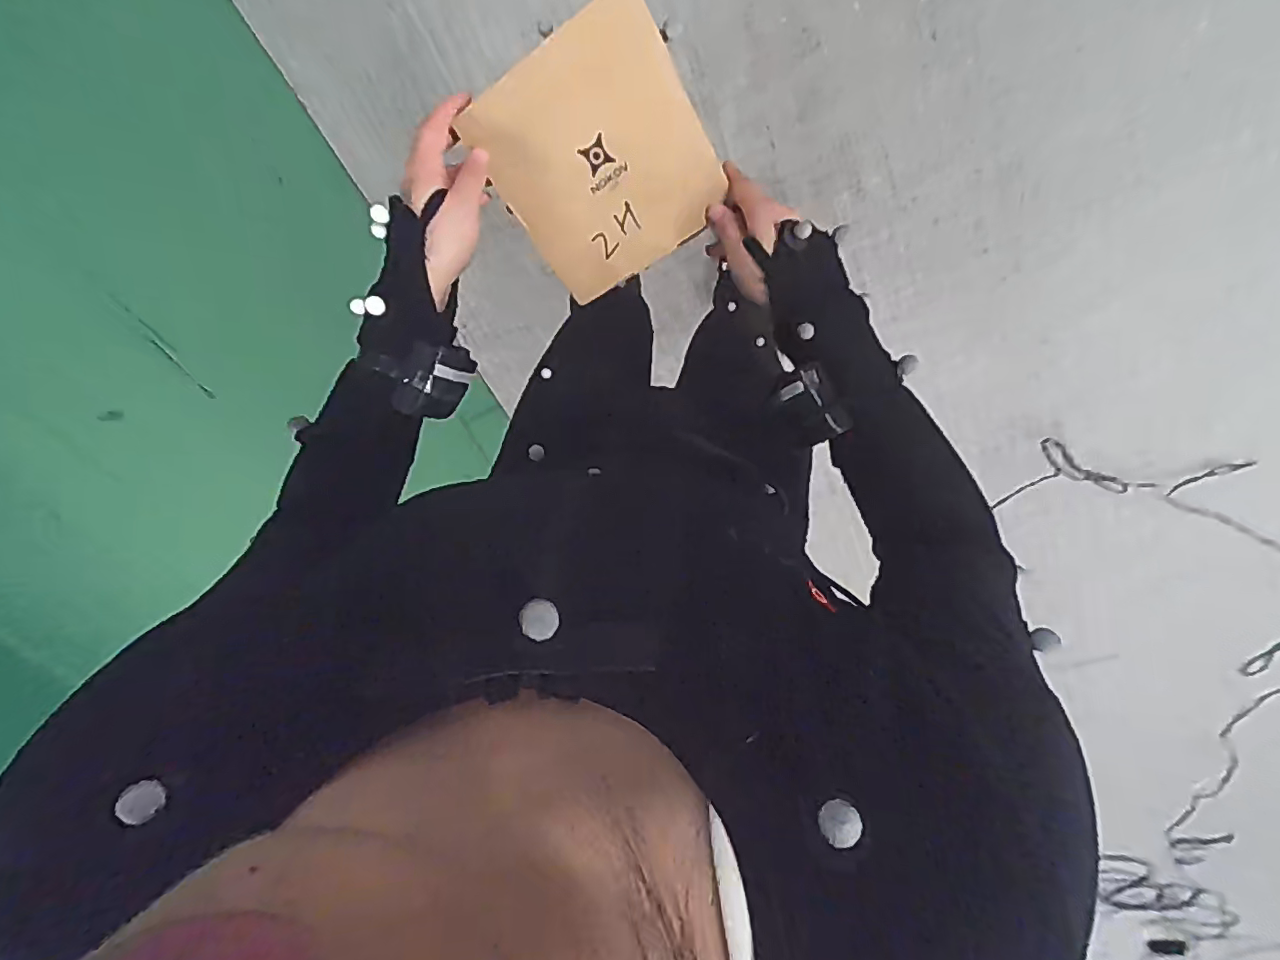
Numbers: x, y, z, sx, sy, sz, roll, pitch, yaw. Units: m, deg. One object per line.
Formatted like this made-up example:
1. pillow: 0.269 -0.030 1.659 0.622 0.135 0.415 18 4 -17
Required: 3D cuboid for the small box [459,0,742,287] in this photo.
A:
1. small box: -0.027 -0.317 0.491 0.168 0.176 0.179 -25 126 20
